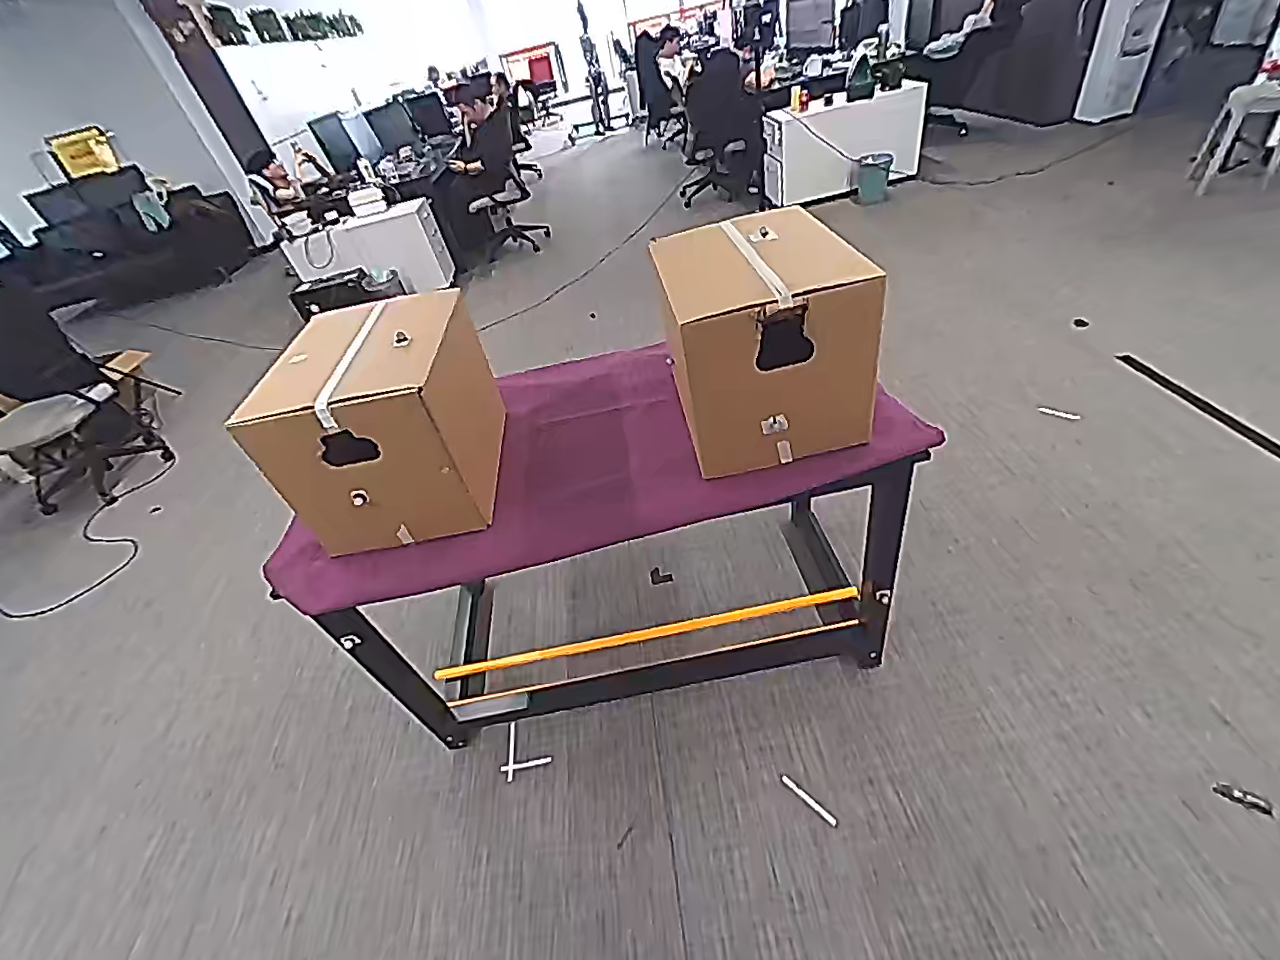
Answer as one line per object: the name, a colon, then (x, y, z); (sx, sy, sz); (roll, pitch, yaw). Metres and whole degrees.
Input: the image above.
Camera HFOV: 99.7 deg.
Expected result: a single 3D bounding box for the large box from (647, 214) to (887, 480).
large box: (0.217, -0.262, 1.025); (0.320, 0.320, 0.408); (-12, 39, 2)
